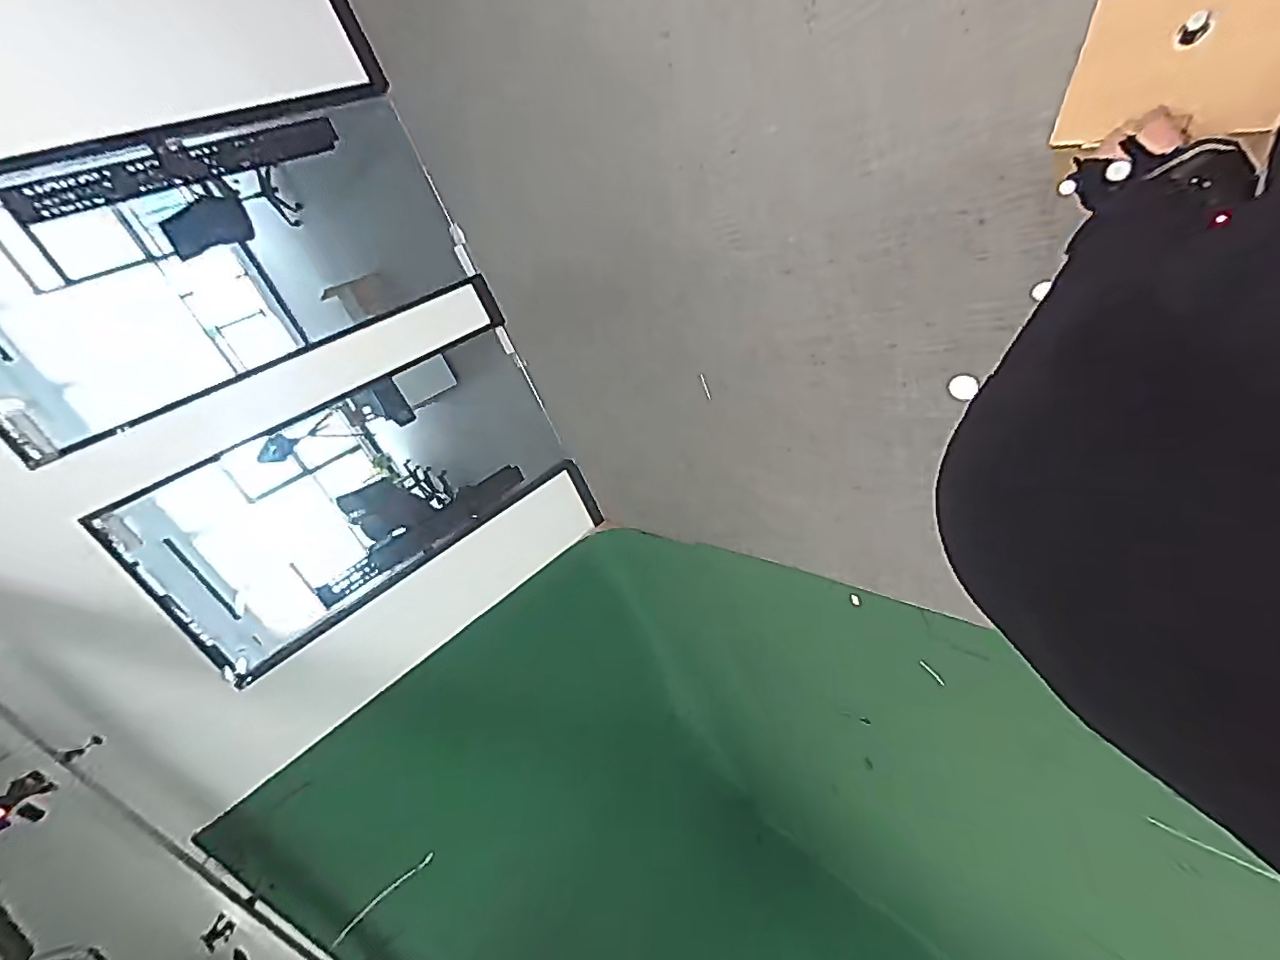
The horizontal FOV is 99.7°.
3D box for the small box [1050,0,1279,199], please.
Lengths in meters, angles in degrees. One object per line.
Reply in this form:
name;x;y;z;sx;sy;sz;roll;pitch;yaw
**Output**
small box;0.547;-0.404;0.547;0.168;0.179;0.176;22;109;39
